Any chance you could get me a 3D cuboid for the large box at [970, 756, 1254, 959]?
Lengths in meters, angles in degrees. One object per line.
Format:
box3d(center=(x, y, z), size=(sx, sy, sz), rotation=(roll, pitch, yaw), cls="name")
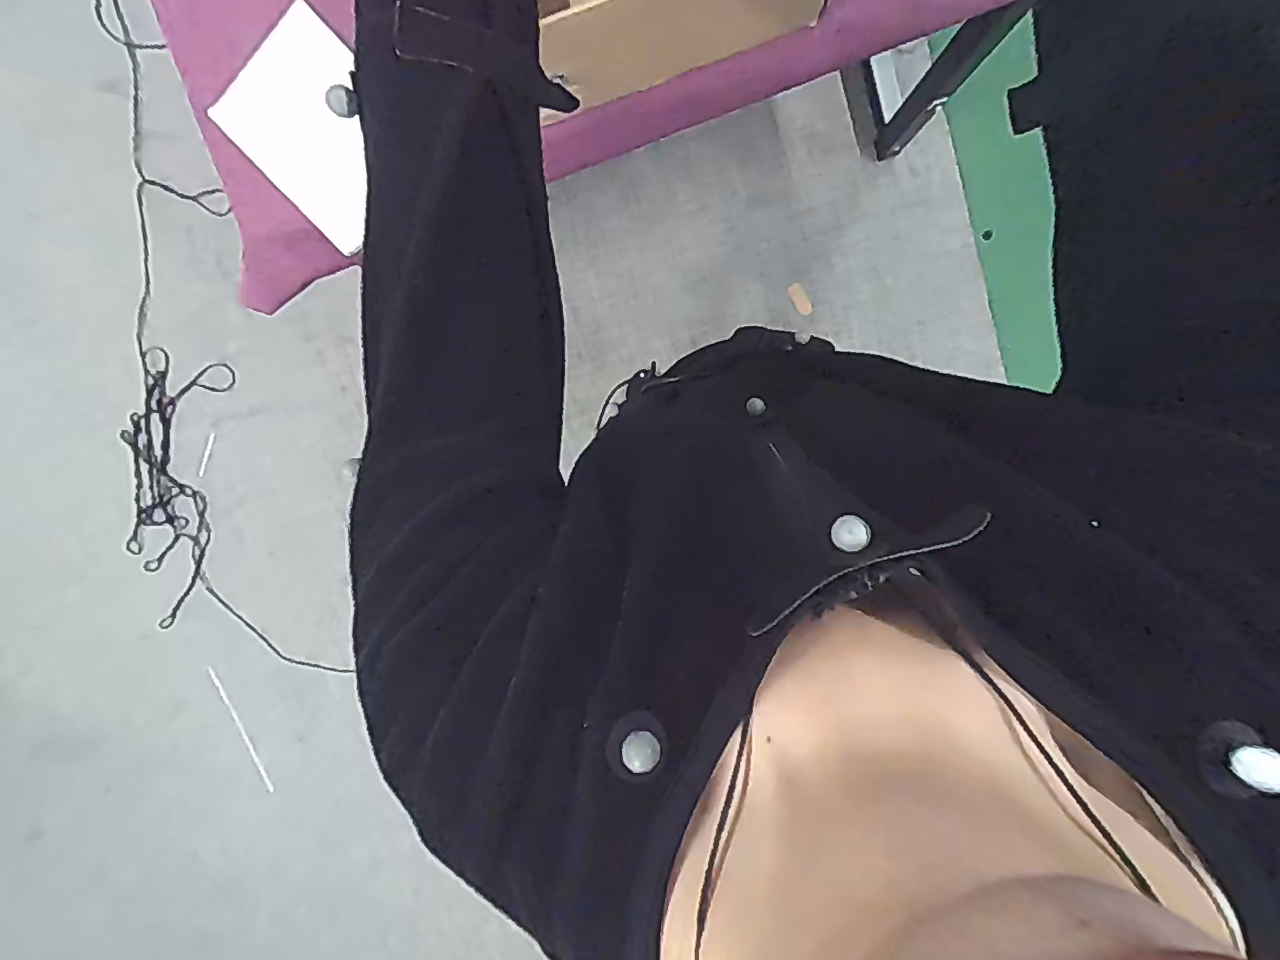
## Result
box3d(center=(1.190, 1.022, 1.413), size=(0.408, 0.320, 0.320), rotation=(-32, 95, 7), cls="large box")
